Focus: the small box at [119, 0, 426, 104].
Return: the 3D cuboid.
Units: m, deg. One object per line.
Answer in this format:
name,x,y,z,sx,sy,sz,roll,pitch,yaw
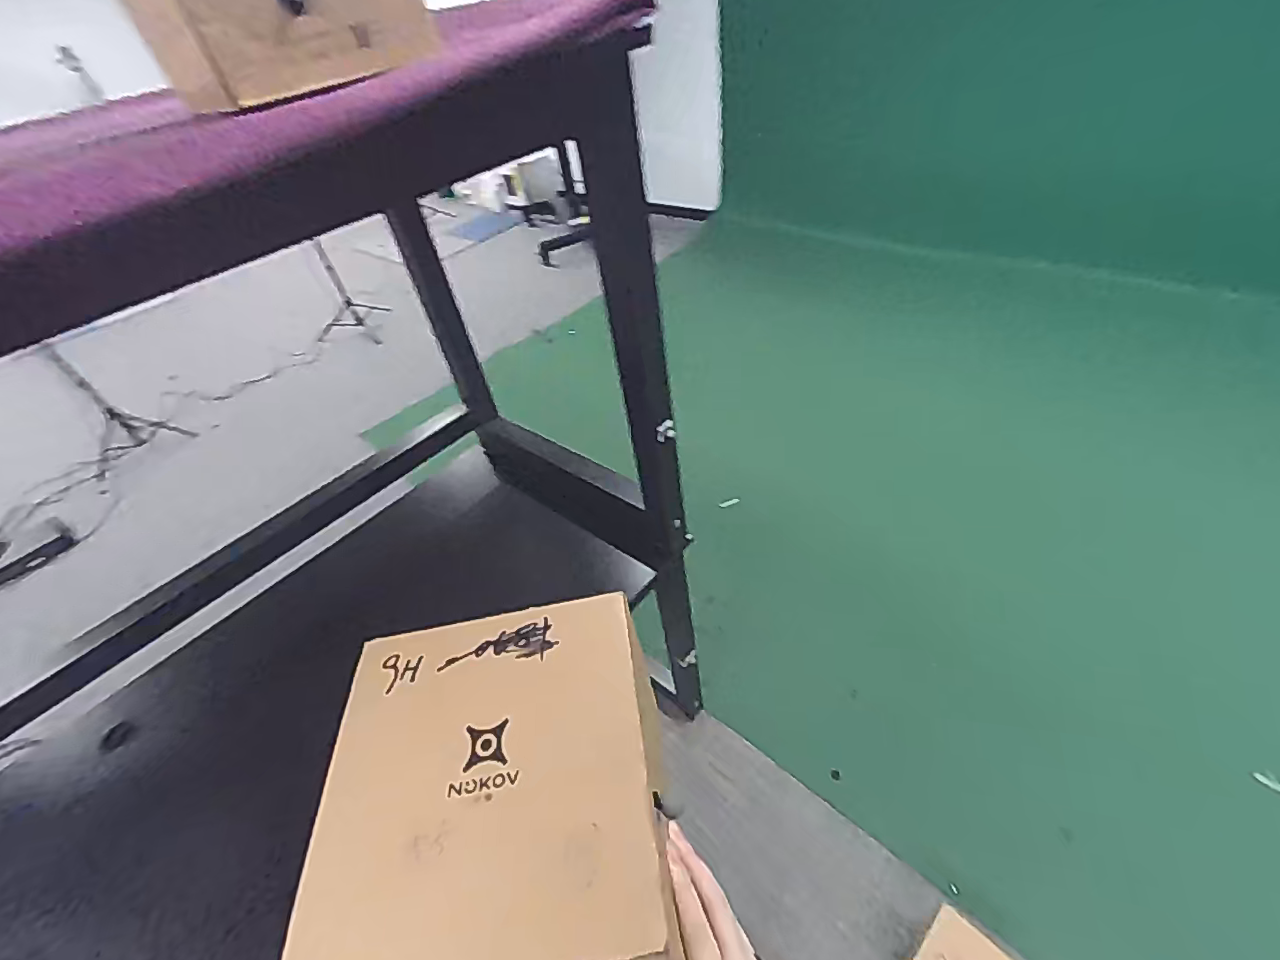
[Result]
small box,-0.296,-0.395,0.399,0.179,0.176,0.168,28,57,36
